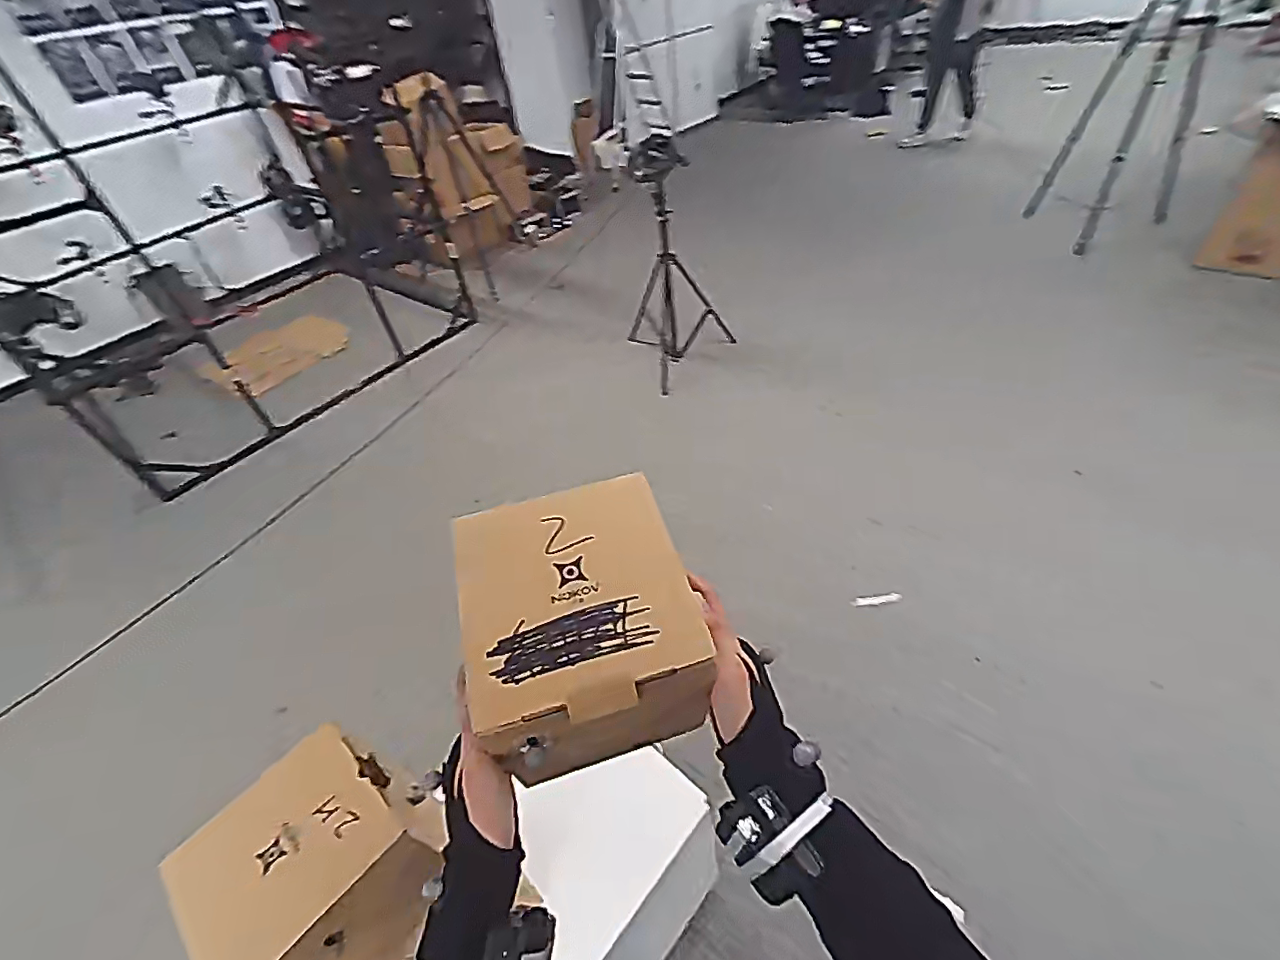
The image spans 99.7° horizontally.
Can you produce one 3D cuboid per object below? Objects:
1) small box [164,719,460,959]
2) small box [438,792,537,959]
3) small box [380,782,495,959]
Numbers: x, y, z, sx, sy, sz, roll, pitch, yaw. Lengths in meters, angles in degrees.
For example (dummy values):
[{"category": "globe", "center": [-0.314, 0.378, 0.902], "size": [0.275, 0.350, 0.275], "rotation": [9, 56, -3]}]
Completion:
[{"category": "small box", "center": [-0.321, 0.397, 0.557], "size": [0.168, 0.176, 0.179], "rotation": [29, 55, 33]}, {"category": "small box", "center": [-0.280, 0.616, 0.798], "size": [0.168, 0.176, 0.179], "rotation": [30, 55, 34]}, {"category": "small box", "center": [-0.311, 0.509, 0.678], "size": [0.168, 0.176, 0.179], "rotation": [-38, 50, -27]}]
